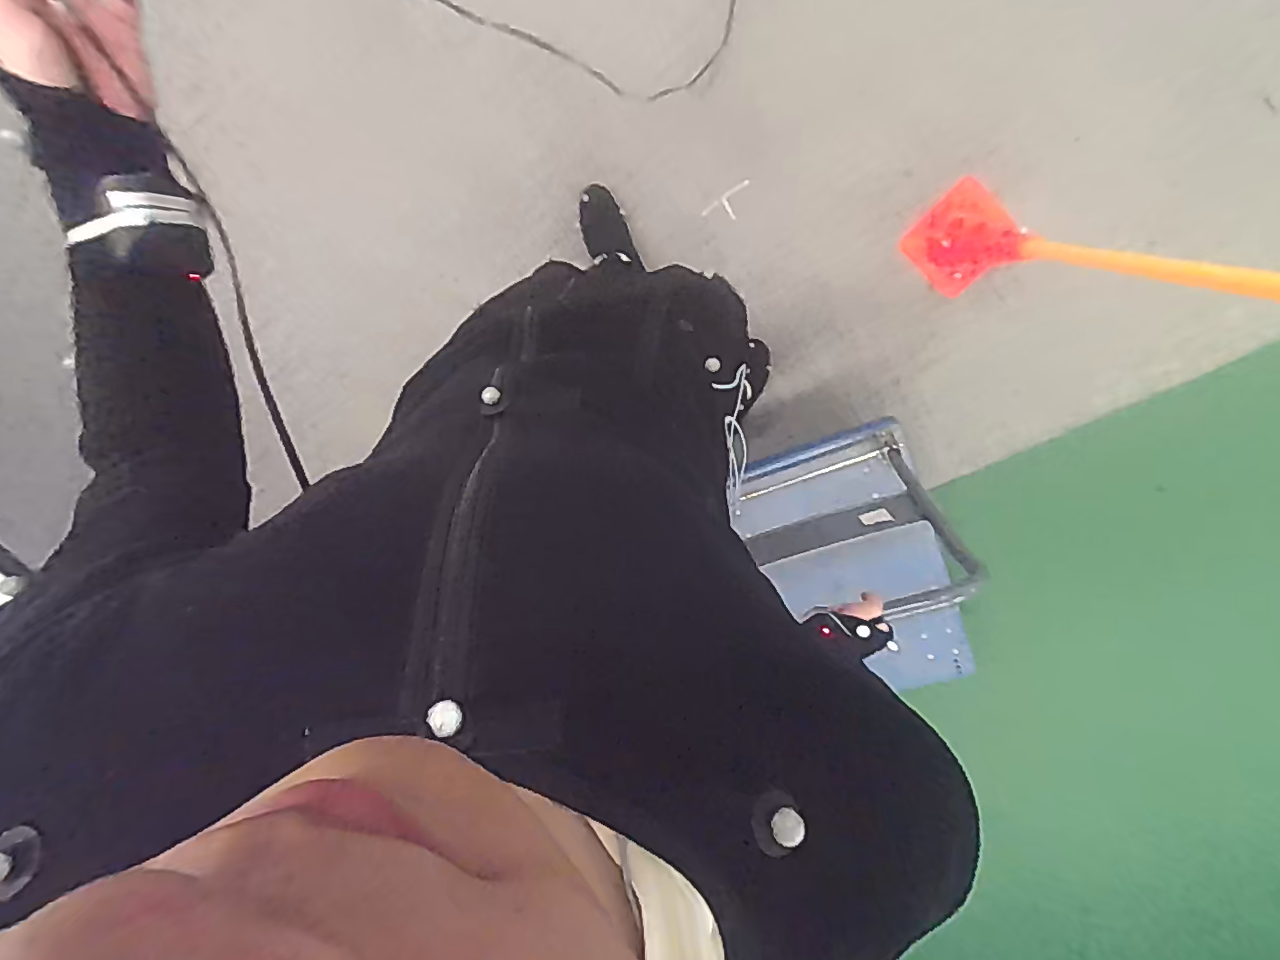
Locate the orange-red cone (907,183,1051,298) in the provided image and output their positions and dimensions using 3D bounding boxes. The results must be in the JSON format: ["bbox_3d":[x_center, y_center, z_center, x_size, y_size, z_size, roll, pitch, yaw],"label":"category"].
[{"bbox_3d":[0.745,-0.490,1.129,0.198,0.360,0.199,41,114,-12],"label":"orange-red cone"}]
